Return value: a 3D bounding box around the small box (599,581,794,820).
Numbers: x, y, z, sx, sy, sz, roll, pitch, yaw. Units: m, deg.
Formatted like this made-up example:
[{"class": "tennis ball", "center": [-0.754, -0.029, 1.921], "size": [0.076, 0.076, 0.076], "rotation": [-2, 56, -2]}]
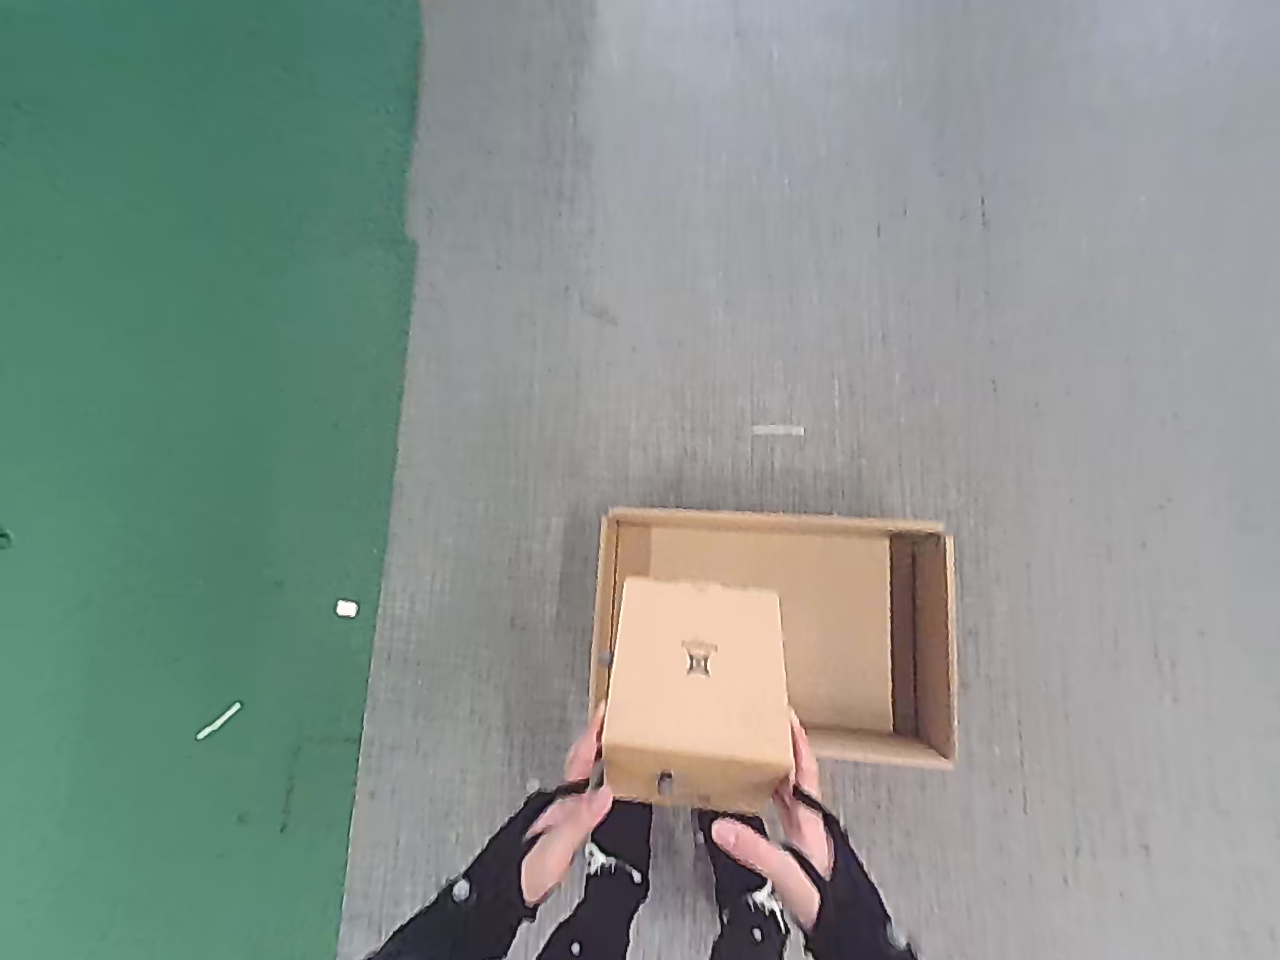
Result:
[{"class": "small box", "center": [0.055, 0.230, 0.562], "size": [0.168, 0.176, 0.179], "rotation": [5, 44, 3]}]
